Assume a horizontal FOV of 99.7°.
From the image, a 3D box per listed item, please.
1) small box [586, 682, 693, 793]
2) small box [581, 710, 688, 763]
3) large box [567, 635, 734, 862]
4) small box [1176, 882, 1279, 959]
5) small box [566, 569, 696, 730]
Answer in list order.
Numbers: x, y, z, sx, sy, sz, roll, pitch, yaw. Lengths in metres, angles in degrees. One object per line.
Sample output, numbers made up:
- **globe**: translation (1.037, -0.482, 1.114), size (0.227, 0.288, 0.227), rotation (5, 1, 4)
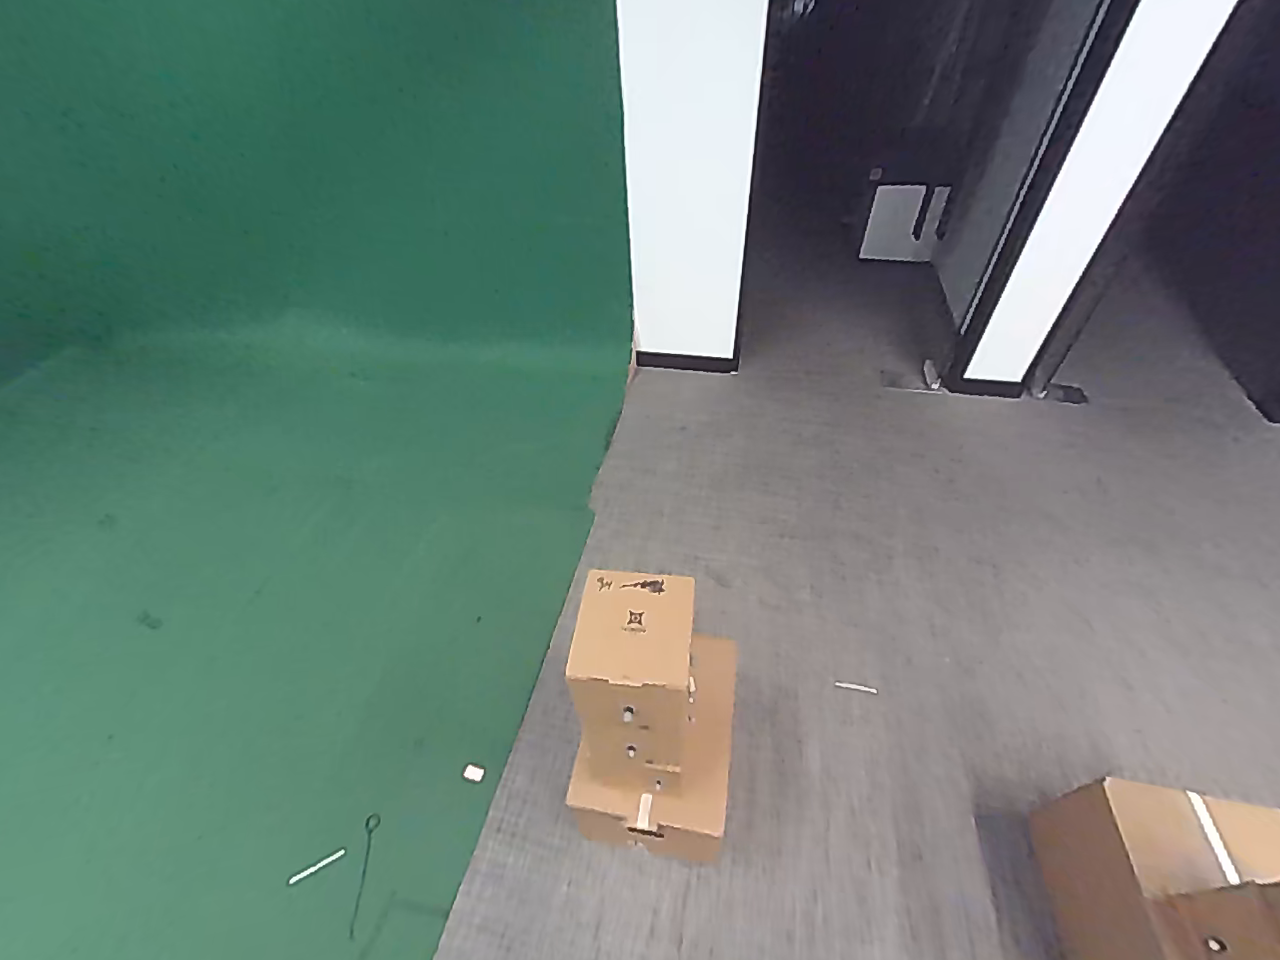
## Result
- **small box**: translation (0.006, 0.490, 1.053), size (0.179, 0.176, 0.168), rotation (5, 46, 9)
- **small box**: translation (0.002, 0.372, 0.940), size (0.168, 0.176, 0.179), rotation (3, 45, 5)
- **large box**: translation (0.045, 0.611, 1.274), size (0.320, 0.320, 0.408), rotation (7, 46, 9)
- **small box**: translation (0.972, 0.716, 0.794), size (0.179, 0.176, 0.168), rotation (4, 47, 9)
- **small box**: translation (-0.003, 0.259, 0.820), size (0.168, 0.176, 0.179), rotation (4, 47, 7)
